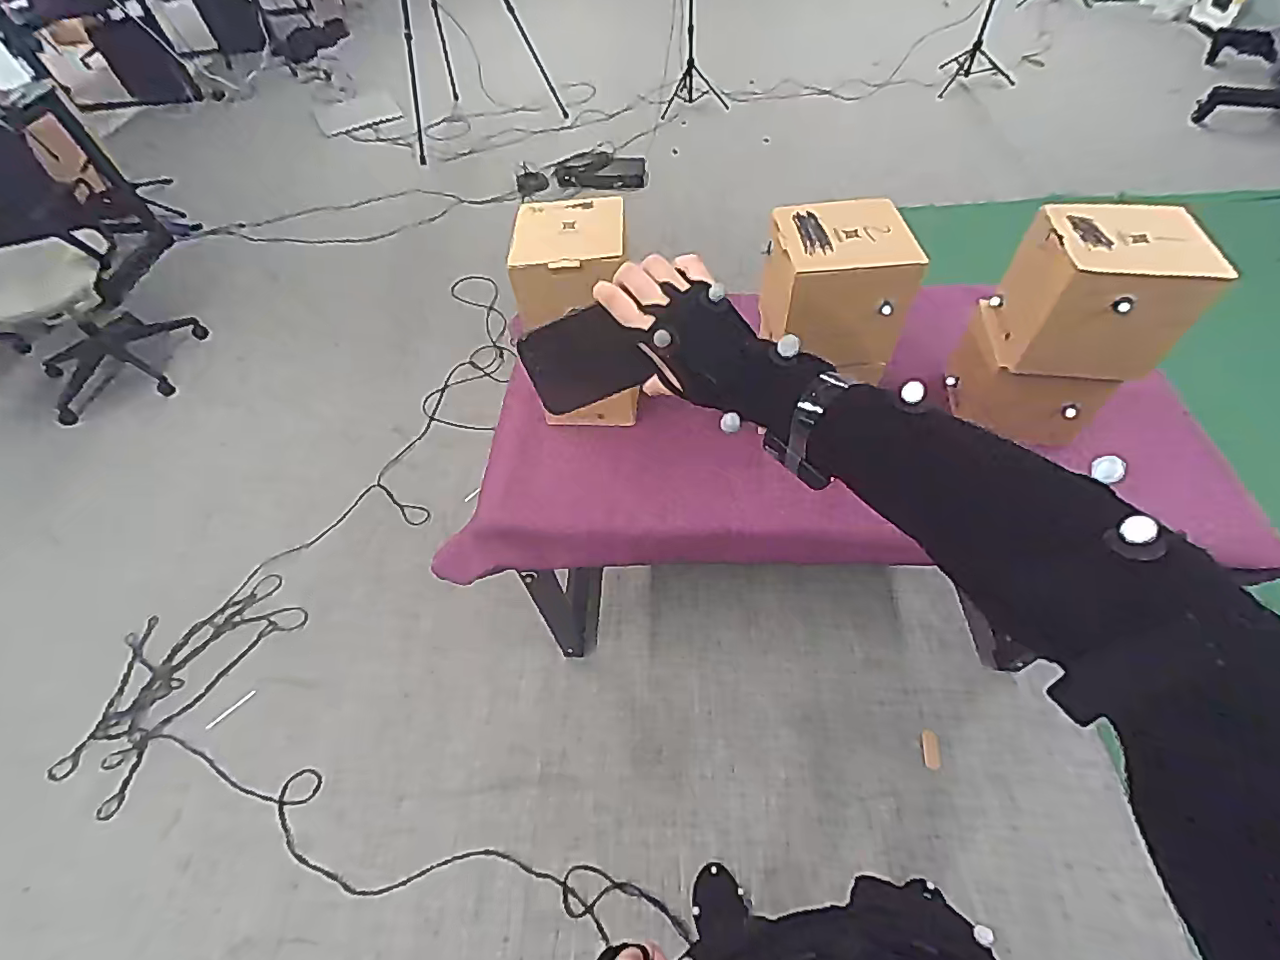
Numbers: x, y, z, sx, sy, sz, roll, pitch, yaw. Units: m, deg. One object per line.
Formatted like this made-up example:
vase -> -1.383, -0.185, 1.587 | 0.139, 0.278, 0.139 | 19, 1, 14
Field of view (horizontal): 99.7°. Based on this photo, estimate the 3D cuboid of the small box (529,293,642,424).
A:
small box -> -0.088, -0.217, 0.989 | 0.168, 0.176, 0.179 | 1, 54, 7

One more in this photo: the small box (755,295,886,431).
small box -> 0.299, -0.198, 0.933 | 0.179, 0.176, 0.168 | 0, 54, 6

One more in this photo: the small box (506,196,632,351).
small box -> -0.101, -0.321, 0.862 | 0.168, 0.176, 0.179 | -3, 54, 3

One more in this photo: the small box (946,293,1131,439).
small box -> 0.636, -0.183, 0.889 | 0.179, 0.176, 0.168 | 5, 54, 10

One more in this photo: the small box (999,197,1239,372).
small box -> 0.630, -0.268, 0.749 | 0.179, 0.176, 0.168 | 6, 54, 9
